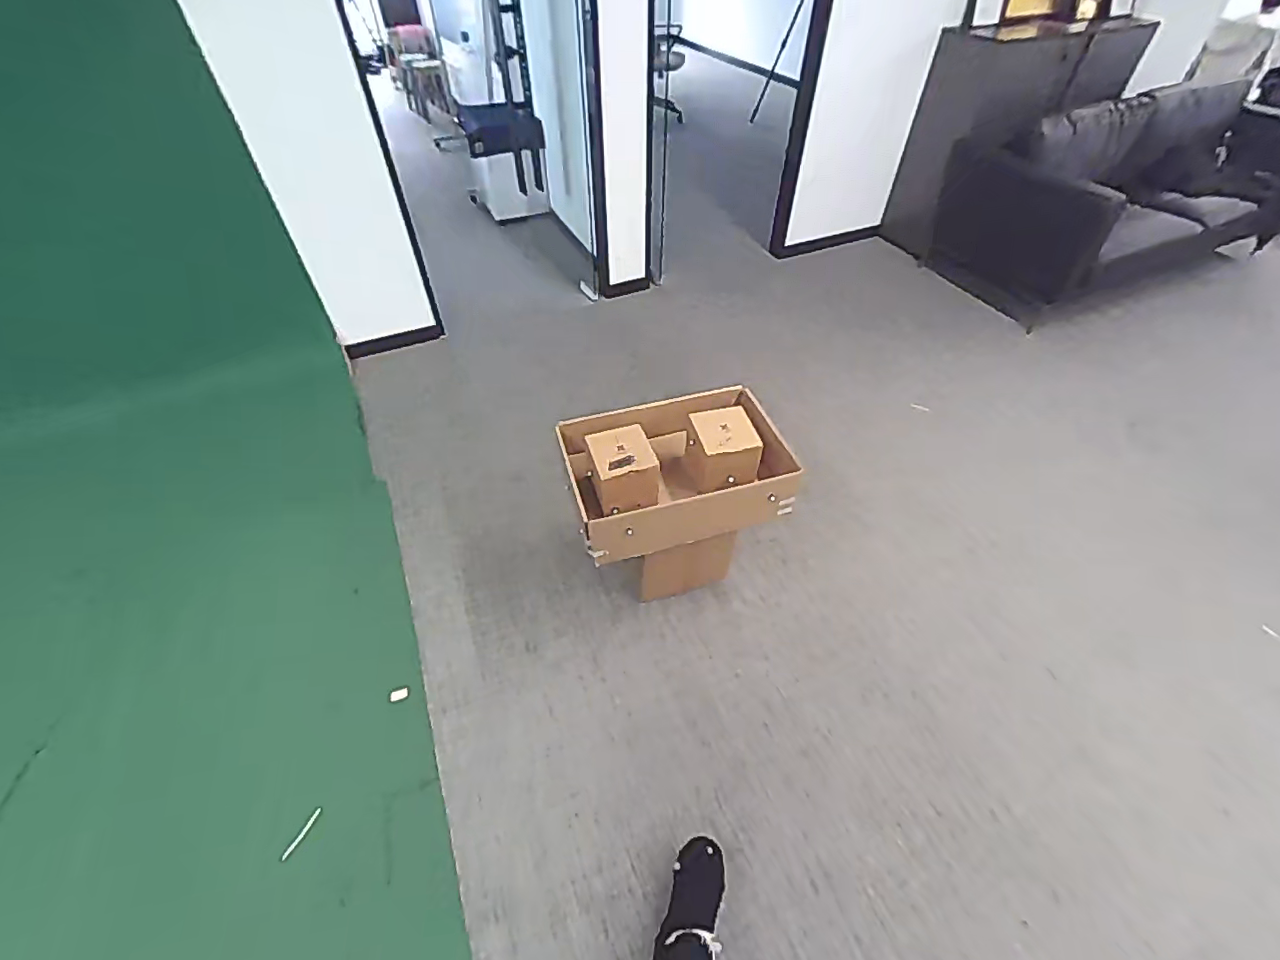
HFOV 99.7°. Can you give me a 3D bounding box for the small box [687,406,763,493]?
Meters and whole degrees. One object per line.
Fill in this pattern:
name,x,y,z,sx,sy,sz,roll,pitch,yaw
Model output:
small box,0.239,-0.088,1.576,0.168,0.176,0.179,-10,49,-9
